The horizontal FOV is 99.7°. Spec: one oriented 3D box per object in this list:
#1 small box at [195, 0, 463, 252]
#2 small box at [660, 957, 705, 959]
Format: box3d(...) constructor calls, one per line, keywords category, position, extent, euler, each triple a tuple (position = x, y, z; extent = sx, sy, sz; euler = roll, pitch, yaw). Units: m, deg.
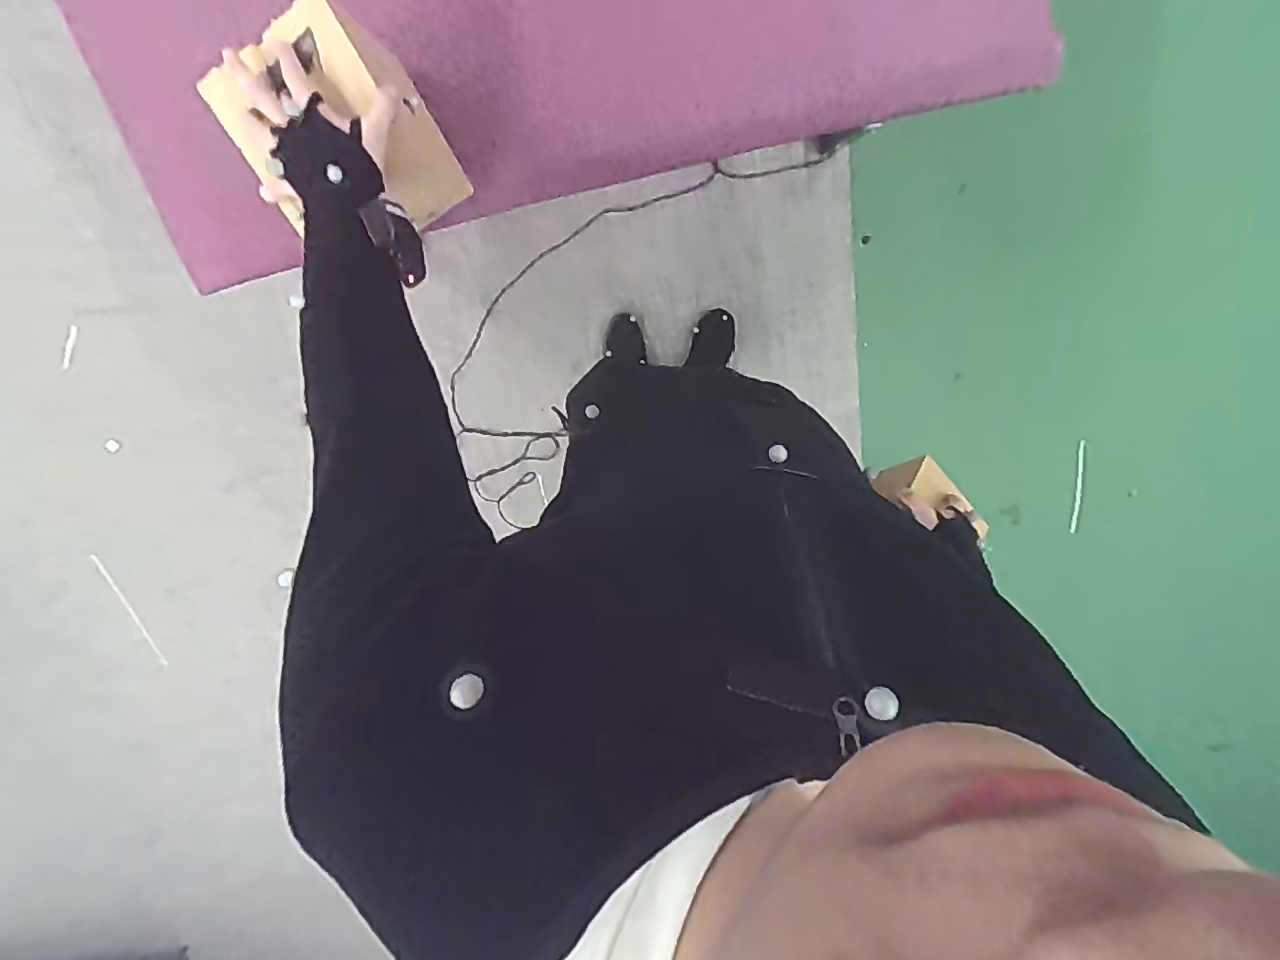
box3d(category="small box", position=(-0.344, -0.393, 0.637), extent=(0.168, 0.176, 0.179), euler=(-29, 106, 11))
box3d(category="small box", position=(0.135, 1.558, 1.592), extent=(0.168, 0.176, 0.179), euler=(-9, 109, 4))
